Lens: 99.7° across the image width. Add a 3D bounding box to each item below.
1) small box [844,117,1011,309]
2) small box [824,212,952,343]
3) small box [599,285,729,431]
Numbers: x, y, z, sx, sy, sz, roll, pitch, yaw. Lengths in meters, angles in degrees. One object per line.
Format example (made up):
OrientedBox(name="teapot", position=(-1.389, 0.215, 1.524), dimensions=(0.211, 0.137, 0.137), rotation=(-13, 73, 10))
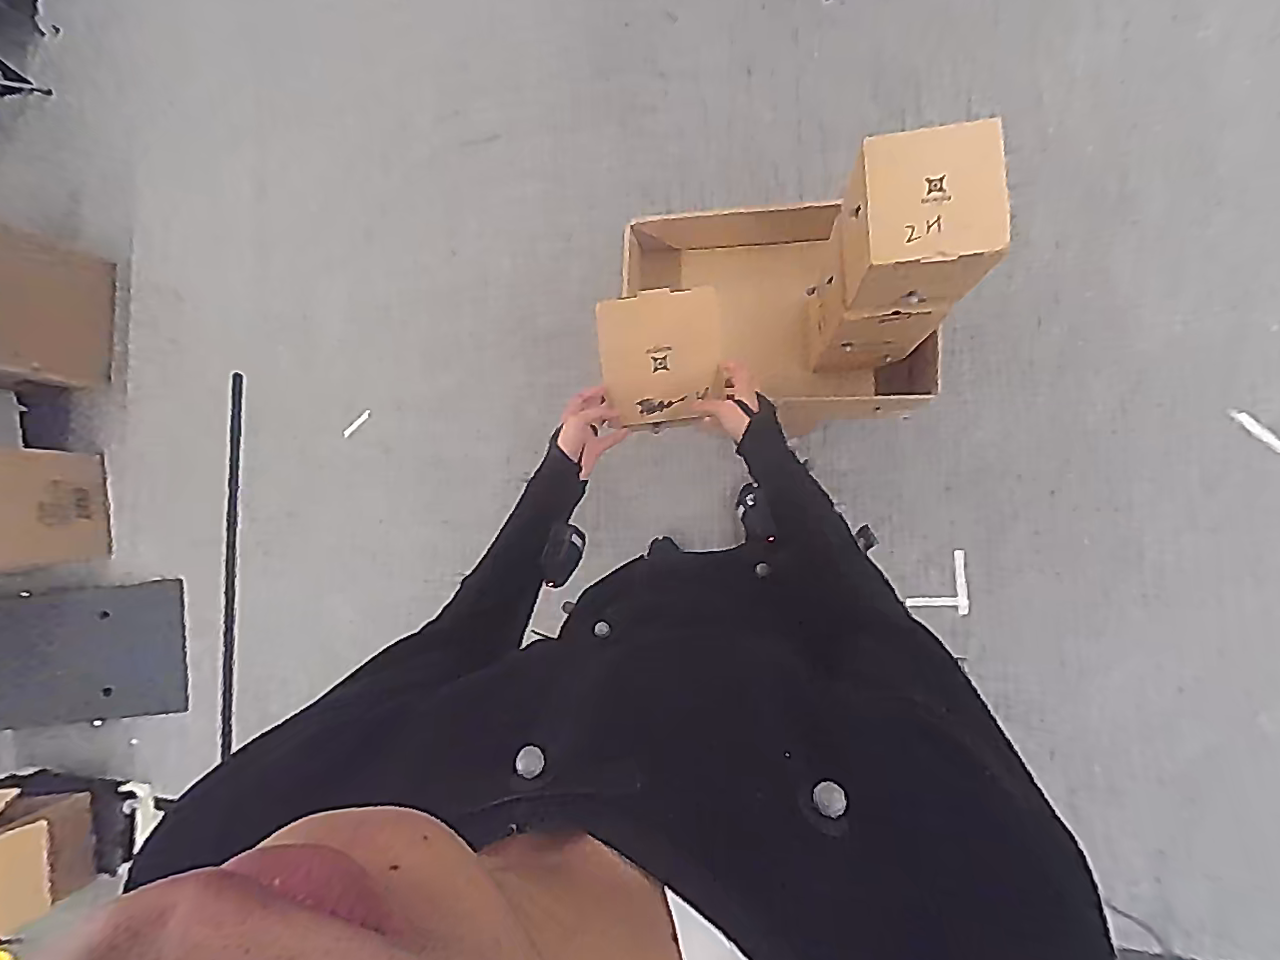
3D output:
OrientedBox(name="small box", position=(0.389, -0.361, 0.762), dimensions=(0.168, 0.176, 0.179), rotation=(-2, 88, 11))
OrientedBox(name="small box", position=(0.413, -0.341, 0.924), dimensions=(0.168, 0.176, 0.179), rotation=(-2, 87, 11))
OrientedBox(name="small box", position=(0.039, -0.171, 0.813), dimensions=(0.168, 0.176, 0.179), rotation=(-6, 92, 7))
